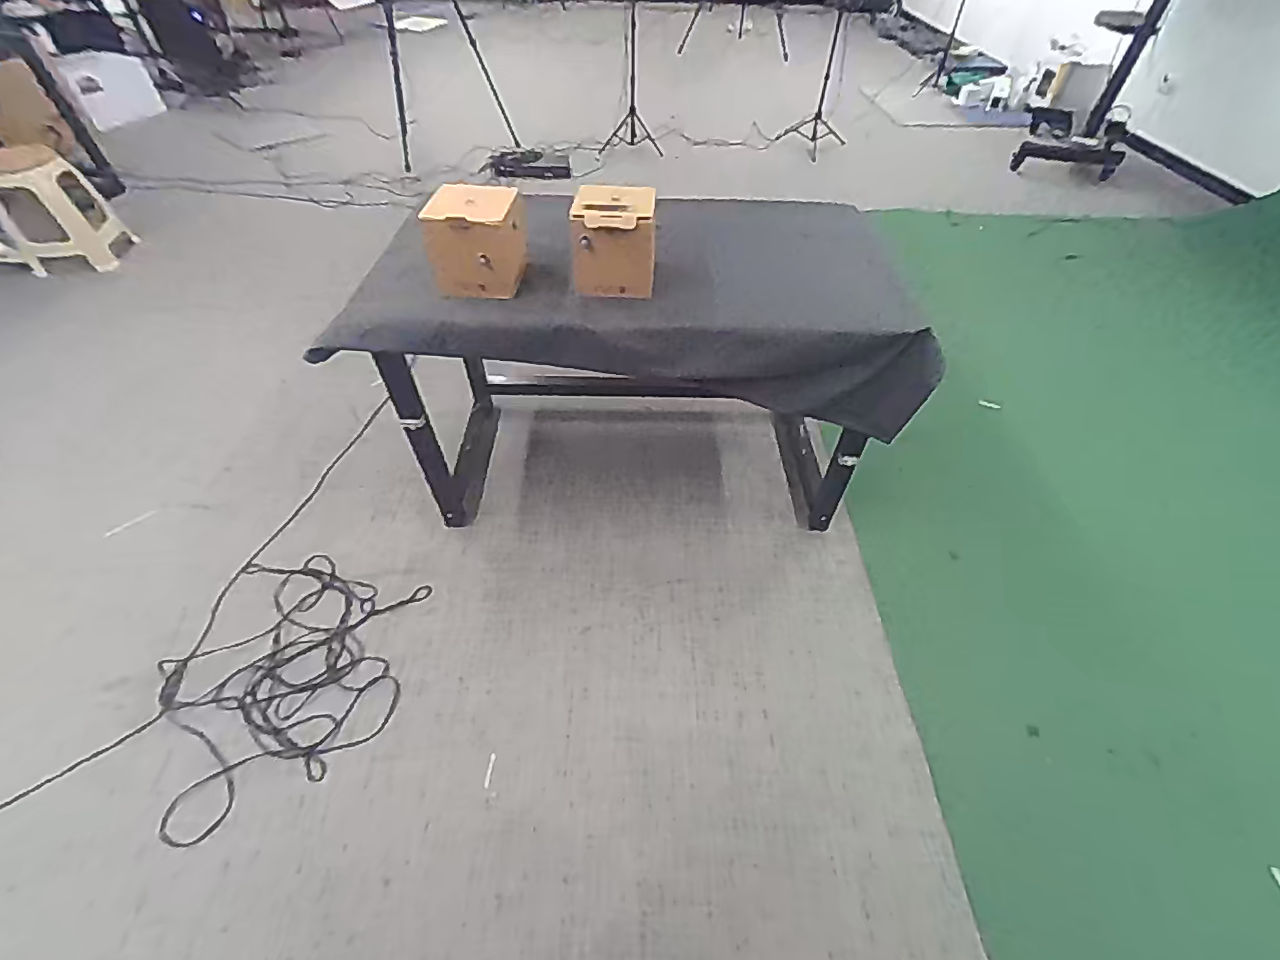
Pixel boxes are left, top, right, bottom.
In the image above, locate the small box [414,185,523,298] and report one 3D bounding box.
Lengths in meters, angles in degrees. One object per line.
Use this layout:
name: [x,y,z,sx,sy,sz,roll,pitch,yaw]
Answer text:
small box: [-0.351,-0.504,1.148,0.168,0.176,0.179,4,47,0]
